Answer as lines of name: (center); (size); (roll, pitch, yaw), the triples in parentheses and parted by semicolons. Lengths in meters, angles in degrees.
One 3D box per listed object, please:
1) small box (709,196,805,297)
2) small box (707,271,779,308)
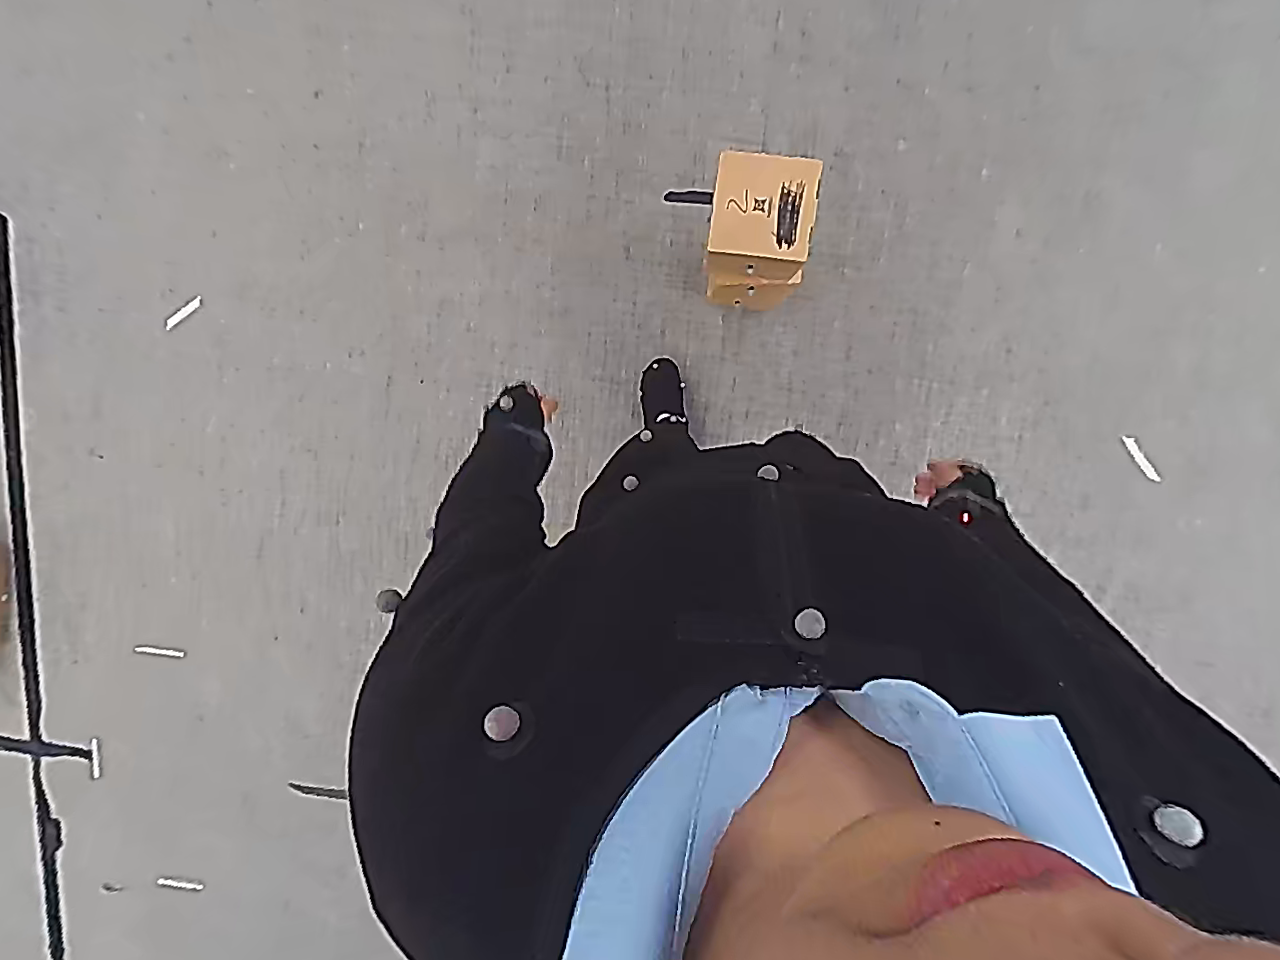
small box: (0.243, -0.494, 1.161); (0.179, 0.176, 0.168); (0, 99, 4)
small box: (0.258, -0.527, 1.319); (0.168, 0.176, 0.179); (9, 99, 1)
